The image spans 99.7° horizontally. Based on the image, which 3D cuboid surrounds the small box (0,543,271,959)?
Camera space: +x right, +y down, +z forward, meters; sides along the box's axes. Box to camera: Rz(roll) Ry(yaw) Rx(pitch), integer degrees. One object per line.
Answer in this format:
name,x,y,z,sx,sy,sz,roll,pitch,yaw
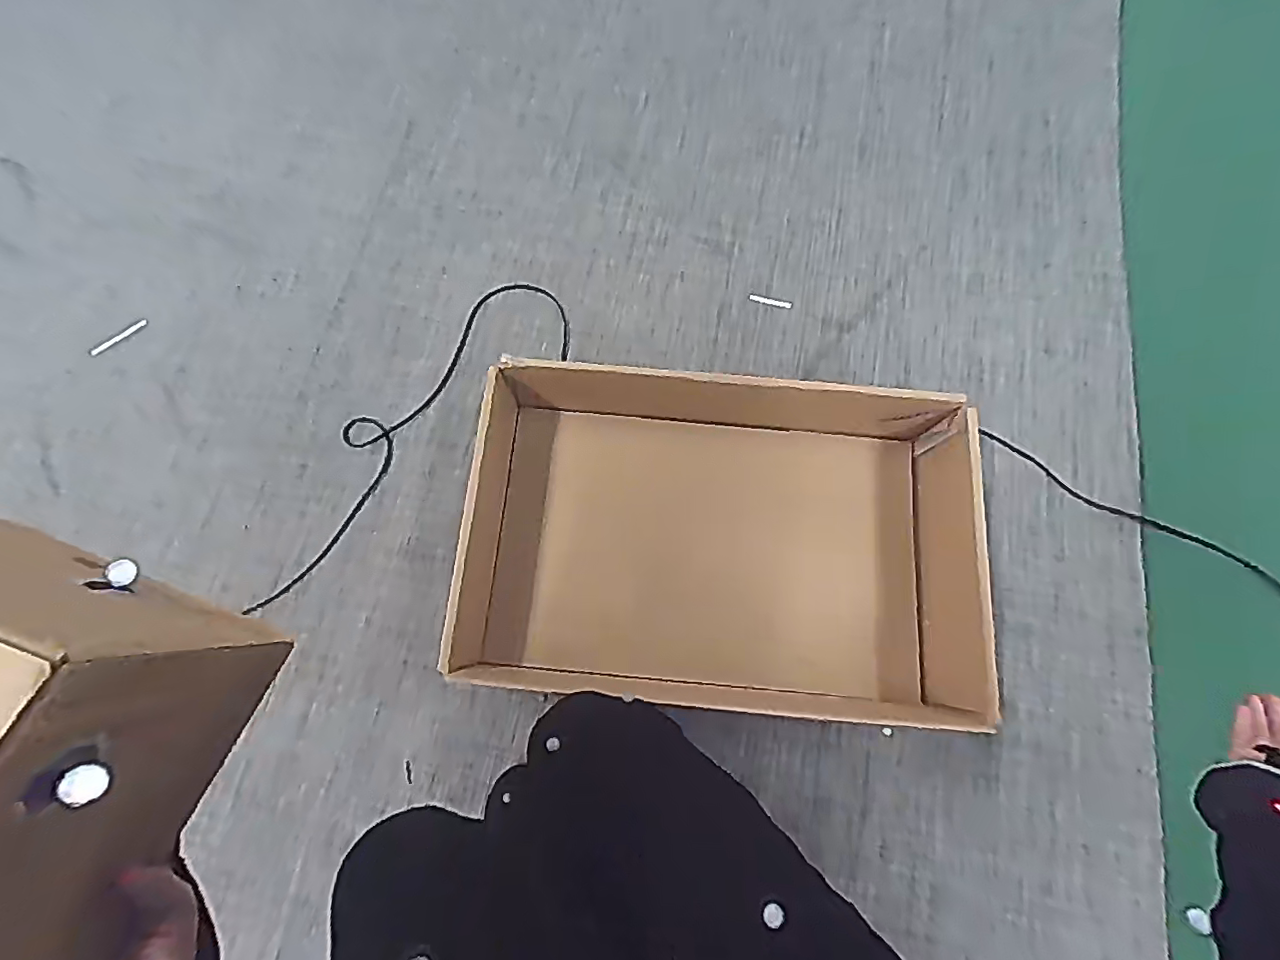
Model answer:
small box,-0.290,0.123,0.204,0.168,0.176,0.179,25,71,-4
